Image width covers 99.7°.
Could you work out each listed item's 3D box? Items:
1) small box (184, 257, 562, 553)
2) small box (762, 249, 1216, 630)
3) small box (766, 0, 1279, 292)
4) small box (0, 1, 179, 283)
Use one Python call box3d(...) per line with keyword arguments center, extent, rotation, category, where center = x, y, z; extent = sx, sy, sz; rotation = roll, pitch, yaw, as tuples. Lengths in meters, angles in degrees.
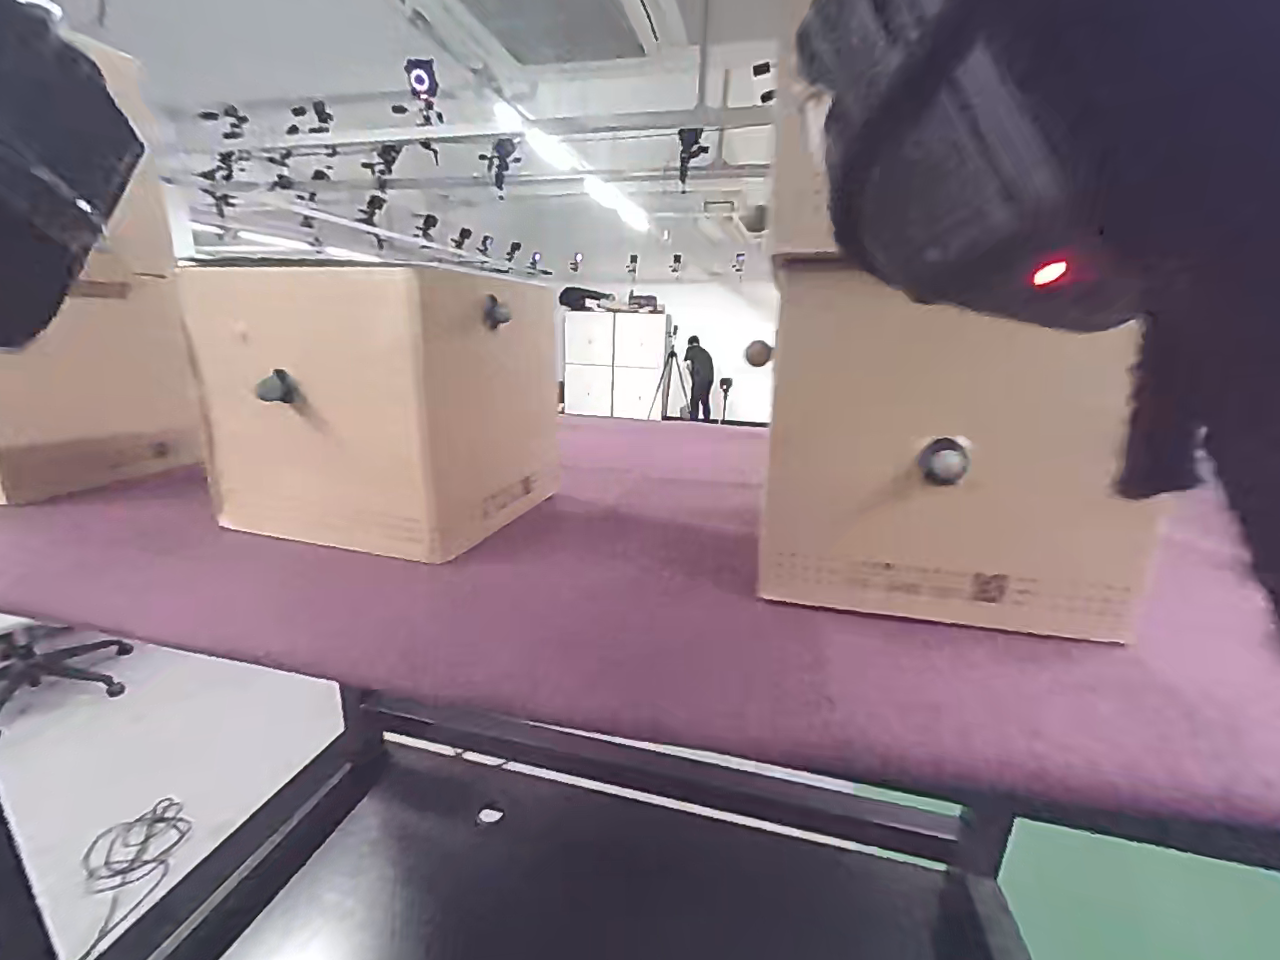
box3d(center=(-0.169, -0.058, 0.390), extent=(0.179, 0.176, 0.168), rotation=(6, 17, 15), category="small box")
box3d(center=(0.165, -0.031, 0.322), extent=(0.168, 0.176, 0.179), rotation=(5, 14, 15), category="small box")
box3d(center=(0.160, -0.185, 0.270), extent=(0.179, 0.176, 0.168), rotation=(3, 13, 14), category="small box")
box3d(center=(-0.502, -0.244, 0.402), extent=(0.179, 0.176, 0.168), rotation=(6, 17, 12), category="small box")
